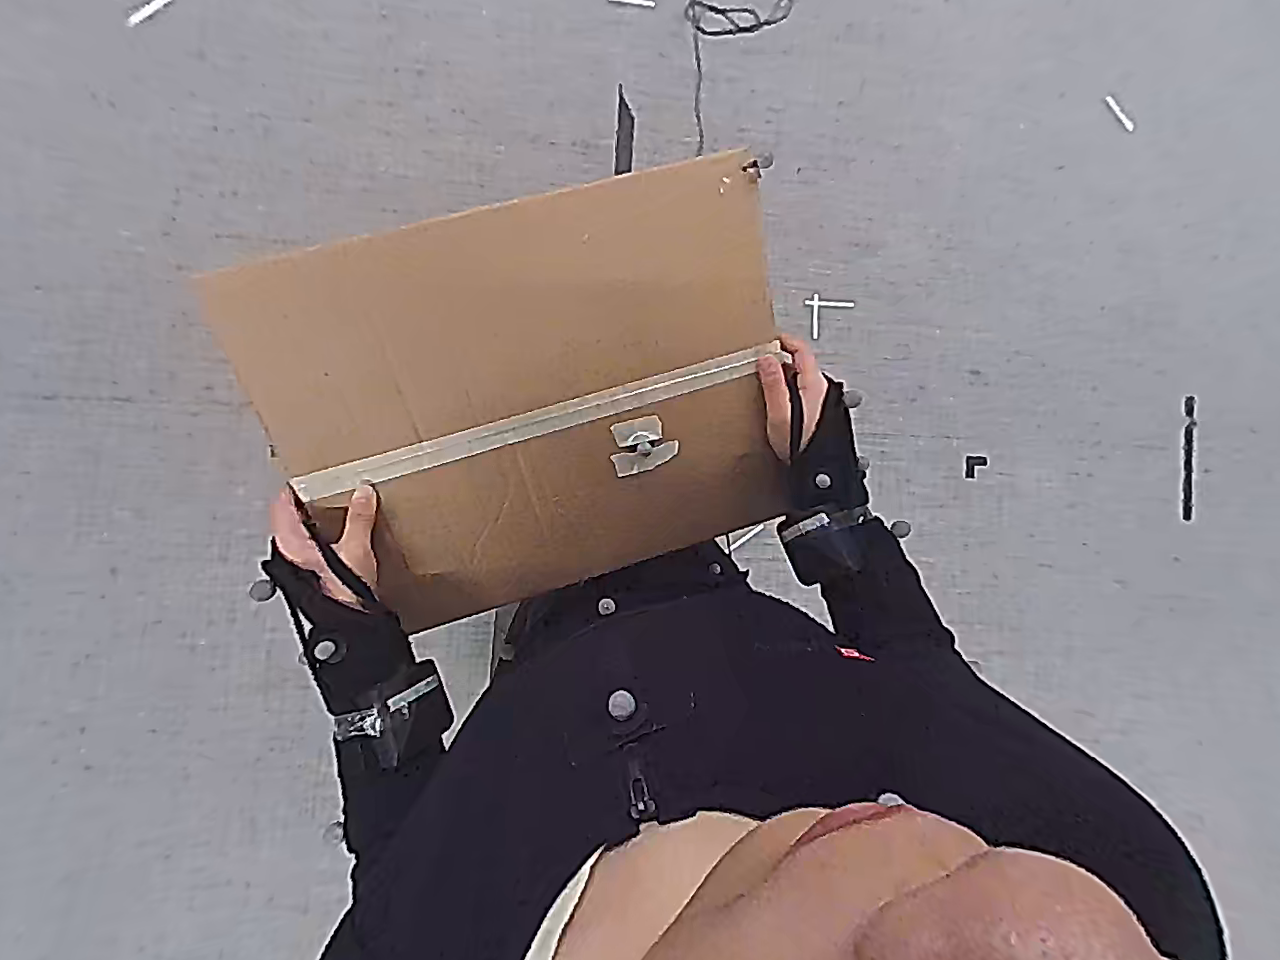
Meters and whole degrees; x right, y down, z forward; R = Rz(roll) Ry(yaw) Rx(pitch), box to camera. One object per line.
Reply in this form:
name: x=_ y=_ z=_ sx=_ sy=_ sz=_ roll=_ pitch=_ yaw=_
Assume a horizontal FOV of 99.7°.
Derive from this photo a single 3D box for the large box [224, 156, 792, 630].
large box: x=-0.105 y=-0.107 z=0.590 sx=0.408 sy=0.320 sz=0.320 roll=-17 pitch=114 yaw=-8
